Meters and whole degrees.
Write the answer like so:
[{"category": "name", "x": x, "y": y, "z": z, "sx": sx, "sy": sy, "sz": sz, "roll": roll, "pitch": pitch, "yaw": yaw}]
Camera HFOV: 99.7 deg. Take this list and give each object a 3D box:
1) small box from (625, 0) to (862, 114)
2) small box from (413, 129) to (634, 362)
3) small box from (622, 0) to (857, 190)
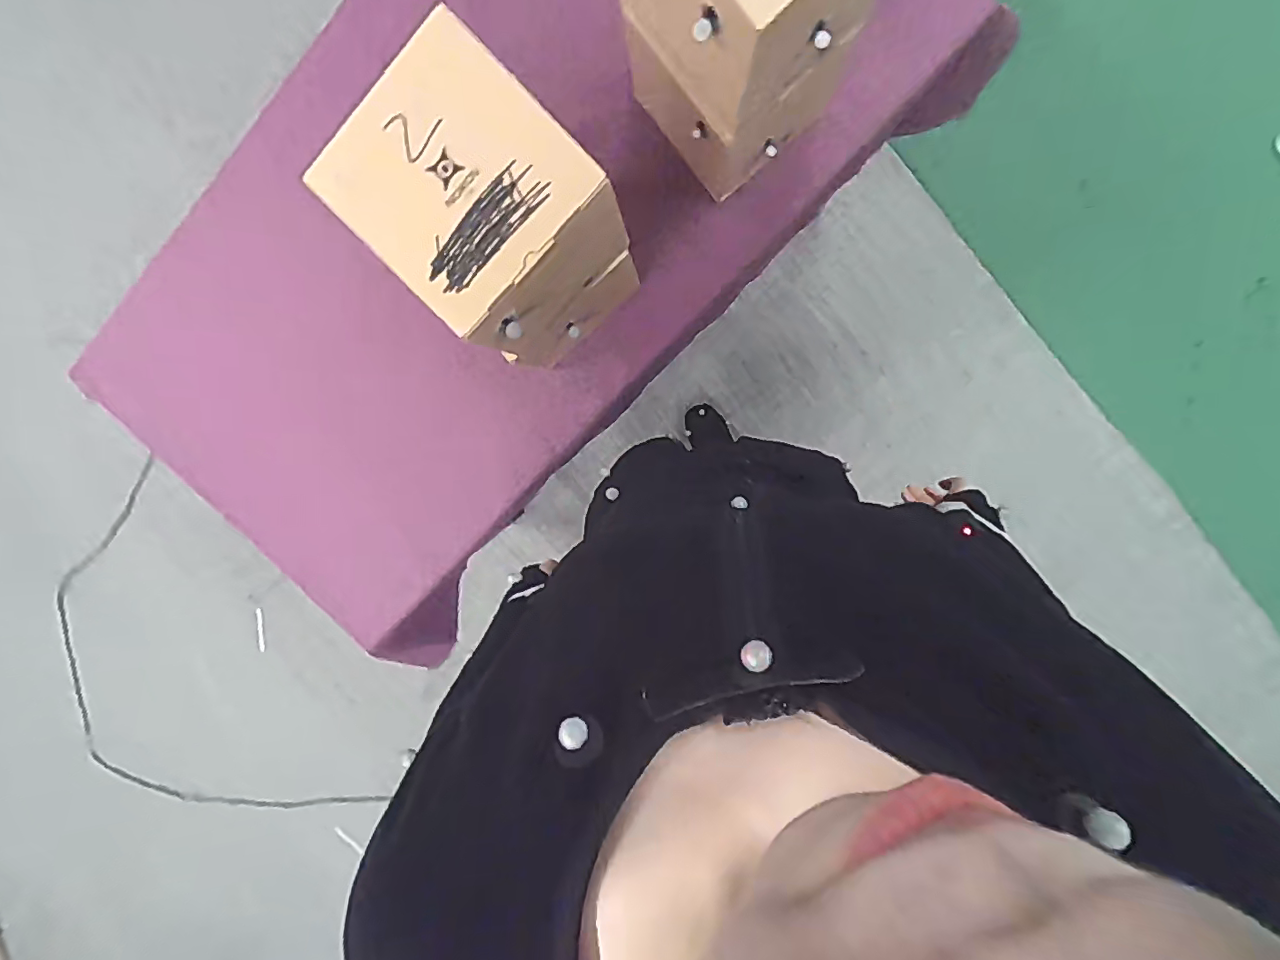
[{"category": "small box", "x": 0.091, "y": -0.447, "z": 0.443, "sx": 0.168, "sy": 0.176, "sz": 0.179, "roll": -41, "pitch": 94, "yaw": 8}, {"category": "small box", "x": -0.123, "y": -0.260, "z": 0.653, "sx": 0.179, "sy": 0.176, "sz": 0.168, "roll": -40, "pitch": 94, "yaw": 9}, {"category": "small box", "x": 0.100, "y": -0.471, "z": 0.606, "sx": 0.168, "sy": 0.176, "sz": 0.179, "roll": -39, "pitch": 95, "yaw": 9}]
